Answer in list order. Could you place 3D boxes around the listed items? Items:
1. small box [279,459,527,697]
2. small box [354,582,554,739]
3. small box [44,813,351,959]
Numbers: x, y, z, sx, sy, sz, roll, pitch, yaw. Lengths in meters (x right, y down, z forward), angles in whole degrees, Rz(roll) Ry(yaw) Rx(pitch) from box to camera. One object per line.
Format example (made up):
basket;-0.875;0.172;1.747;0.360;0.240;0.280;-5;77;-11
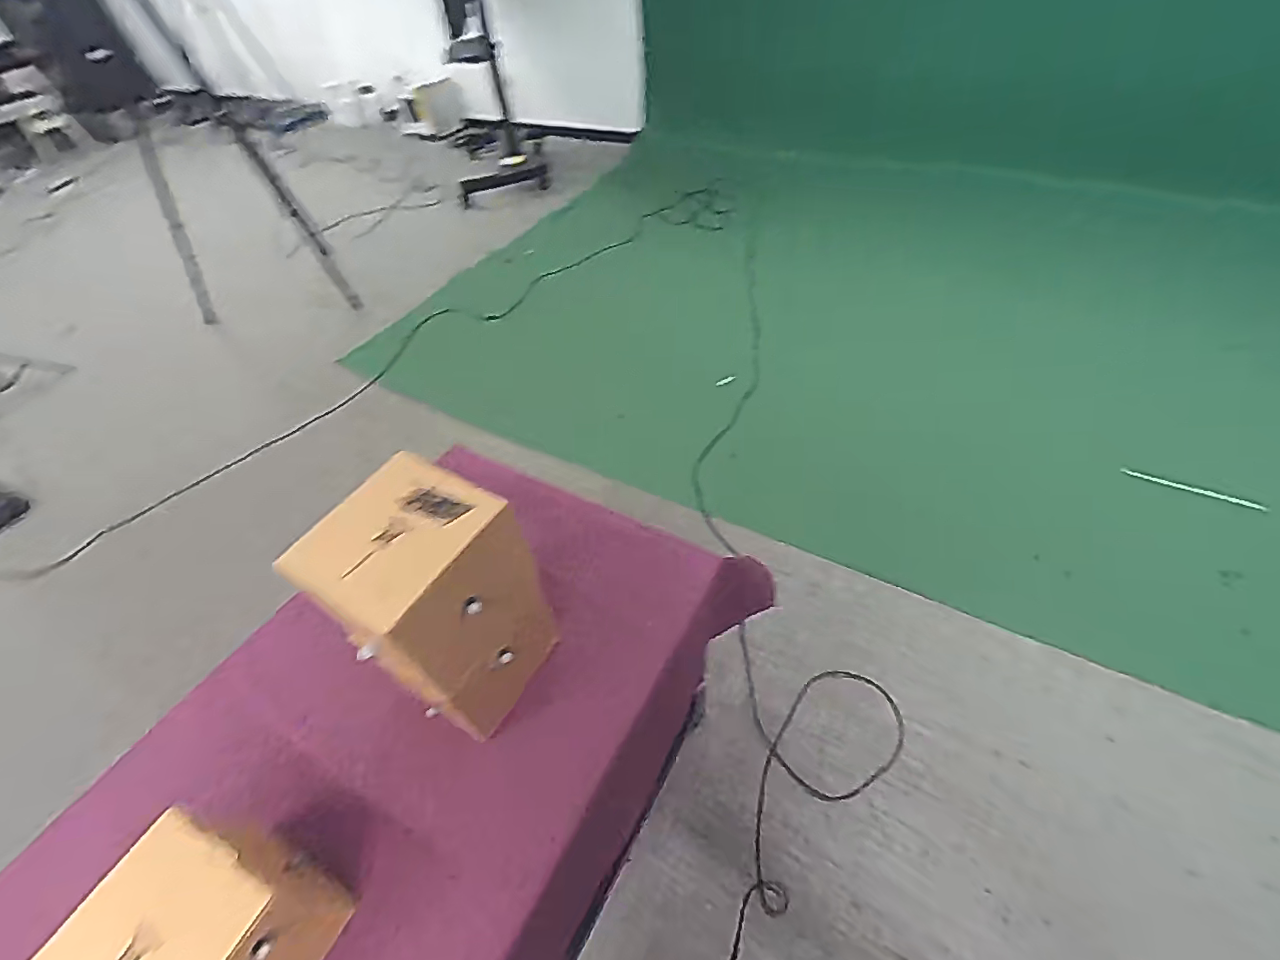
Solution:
small box;-0.250;0.113;0.623;0.168;0.176;0.179;22;56;22
small box;-0.239;0.222;0.745;0.168;0.176;0.179;22;54;22
small box;-0.440;0.481;0.544;0.168;0.176;0.179;17;52;20
